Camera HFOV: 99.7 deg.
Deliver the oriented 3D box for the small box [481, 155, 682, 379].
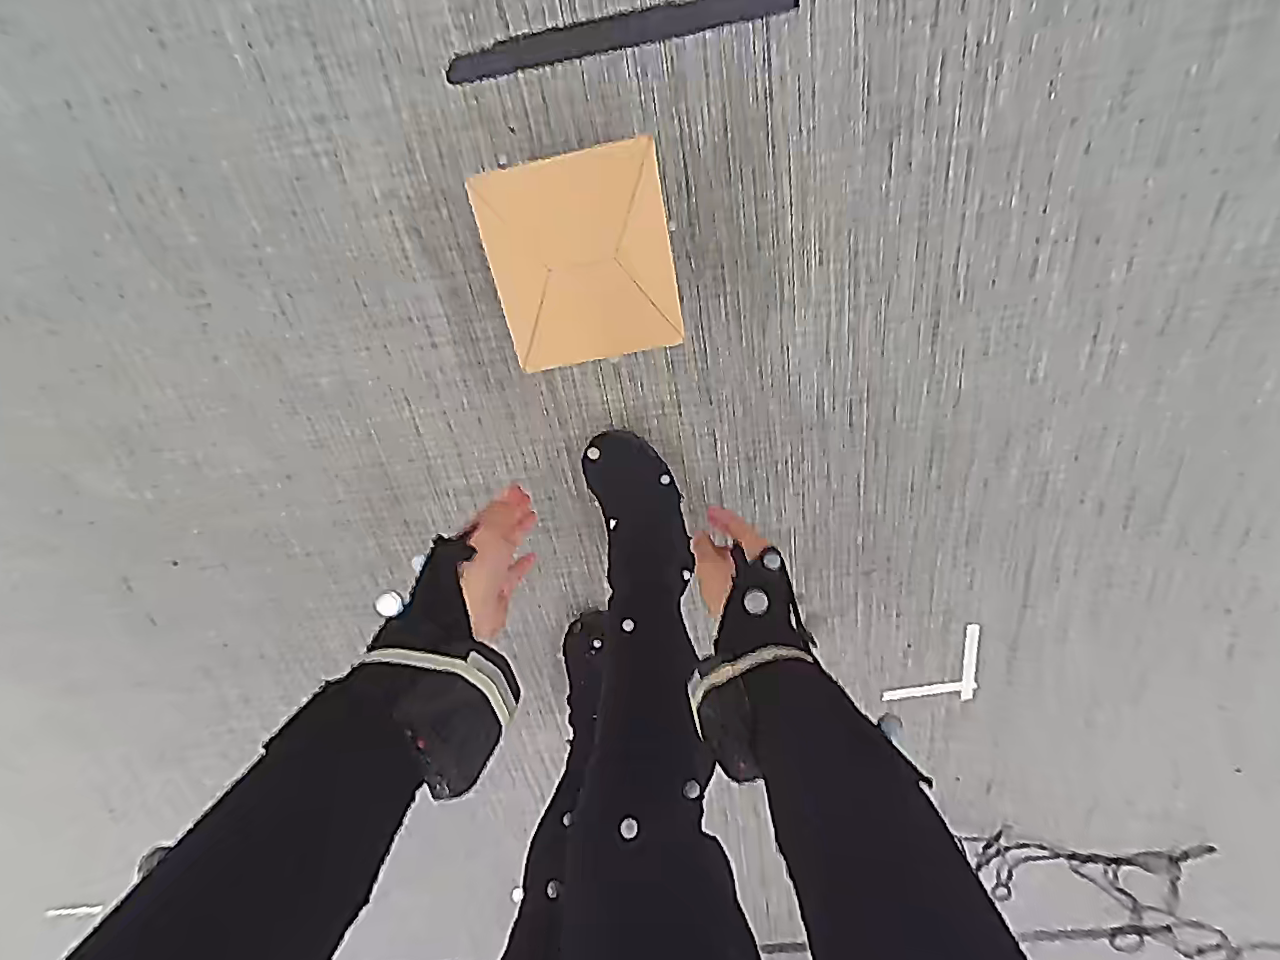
[{"bbox_3d":[-0.050,-0.223,0.566,0.168,0.176,0.179,-9,116,6],"label":"small box"}]
